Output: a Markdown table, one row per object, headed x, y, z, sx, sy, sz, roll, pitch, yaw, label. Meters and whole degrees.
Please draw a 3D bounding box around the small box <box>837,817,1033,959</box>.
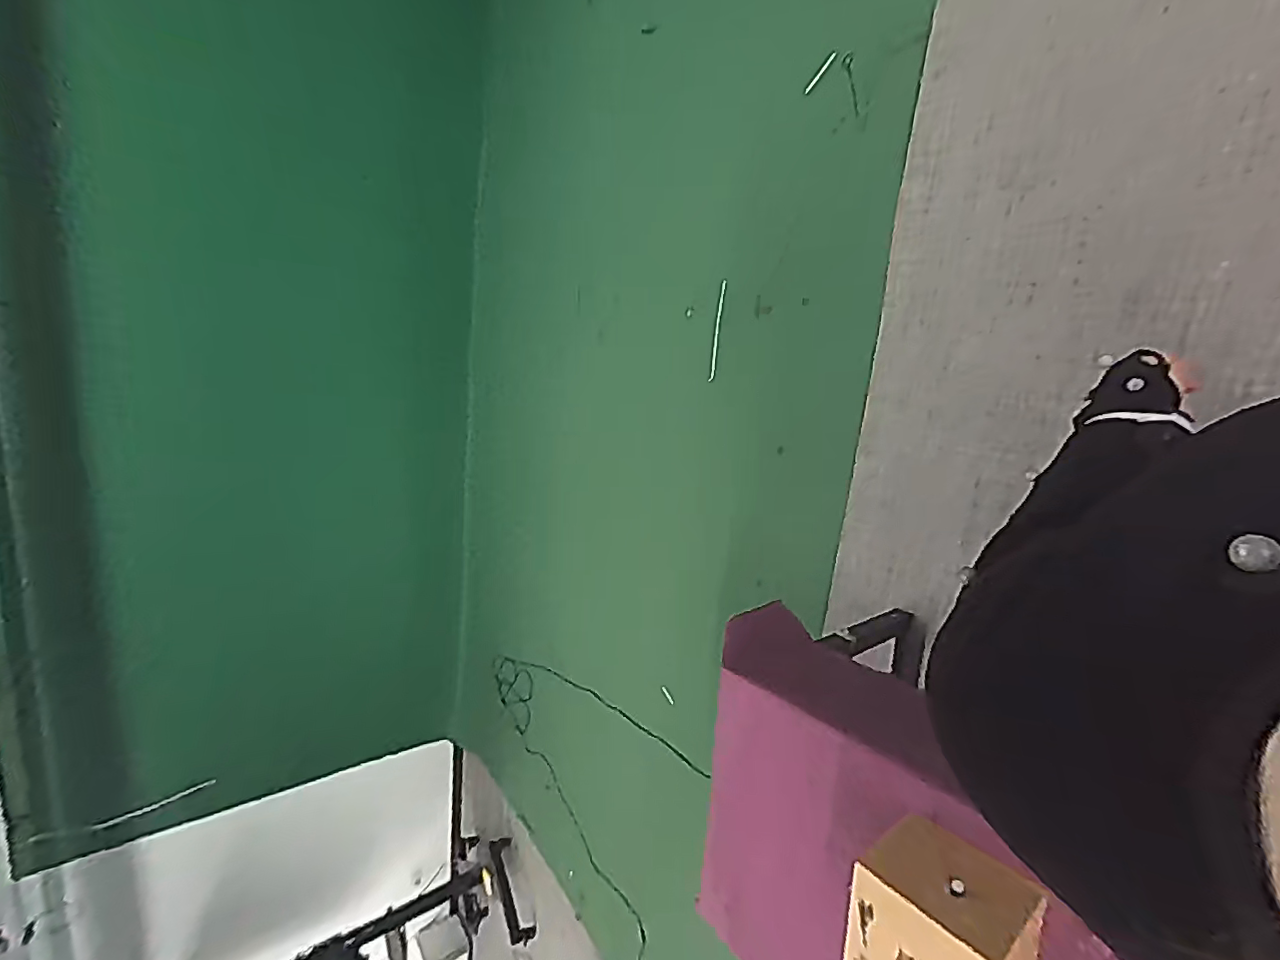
| x | y | z | sx | sy | sz | roll | pitch | yaw | label |
| --- | --- | --- | --- | --- | --- | --- | --- | --- | --- |
| 0.396 | 0.601 | 0.727 | 0.179 | 0.176 | 0.168 | 13 | 102 | 50 | small box |
